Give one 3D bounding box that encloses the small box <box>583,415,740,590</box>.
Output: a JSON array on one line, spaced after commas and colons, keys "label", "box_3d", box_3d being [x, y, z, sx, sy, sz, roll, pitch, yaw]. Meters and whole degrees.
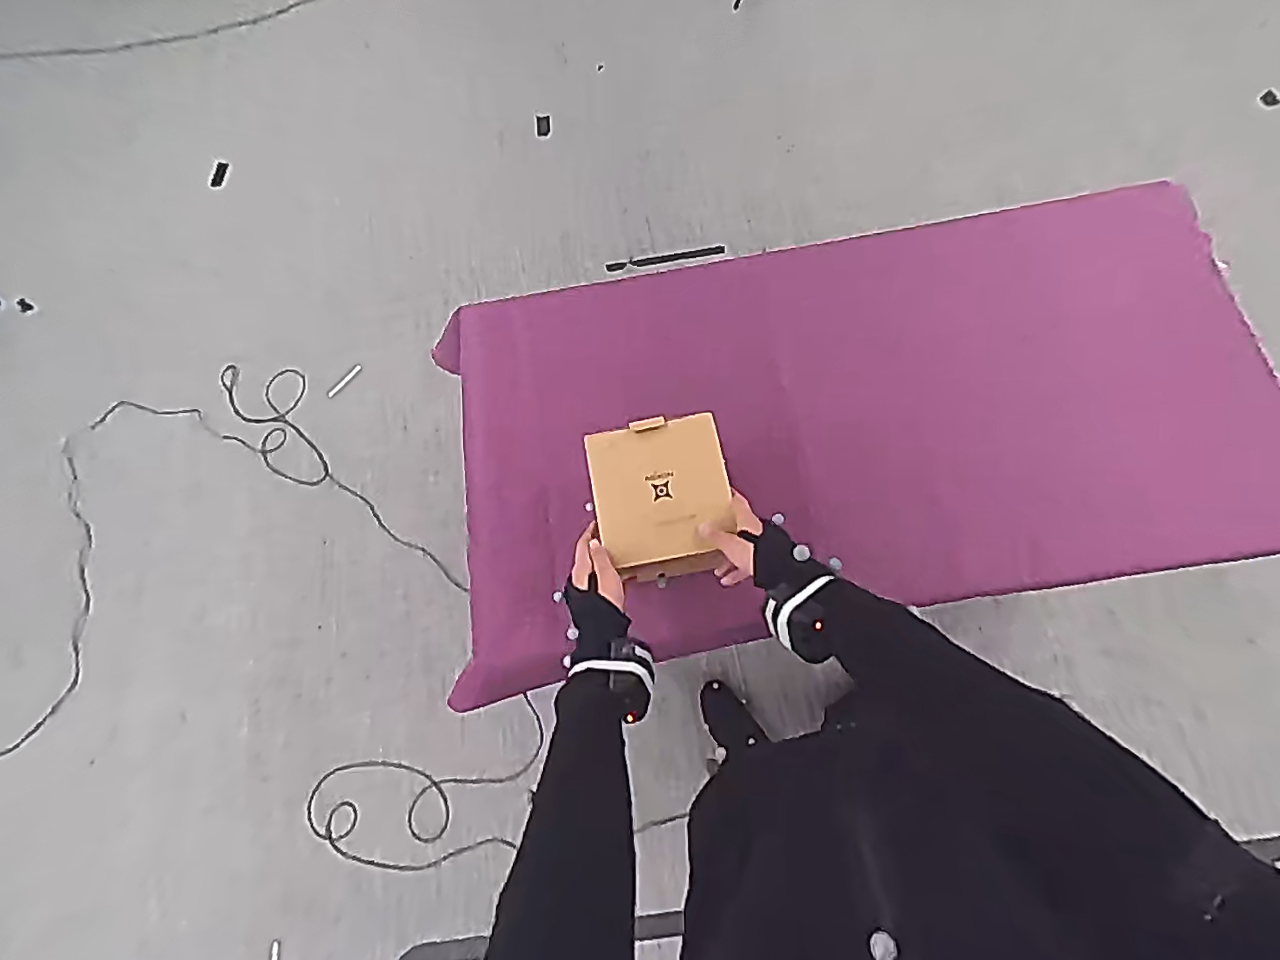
[{"label": "small box", "box_3d": [0.024, 0.038, 0.719, 0.168, 0.176, 0.179, -11, 72, 0]}]
